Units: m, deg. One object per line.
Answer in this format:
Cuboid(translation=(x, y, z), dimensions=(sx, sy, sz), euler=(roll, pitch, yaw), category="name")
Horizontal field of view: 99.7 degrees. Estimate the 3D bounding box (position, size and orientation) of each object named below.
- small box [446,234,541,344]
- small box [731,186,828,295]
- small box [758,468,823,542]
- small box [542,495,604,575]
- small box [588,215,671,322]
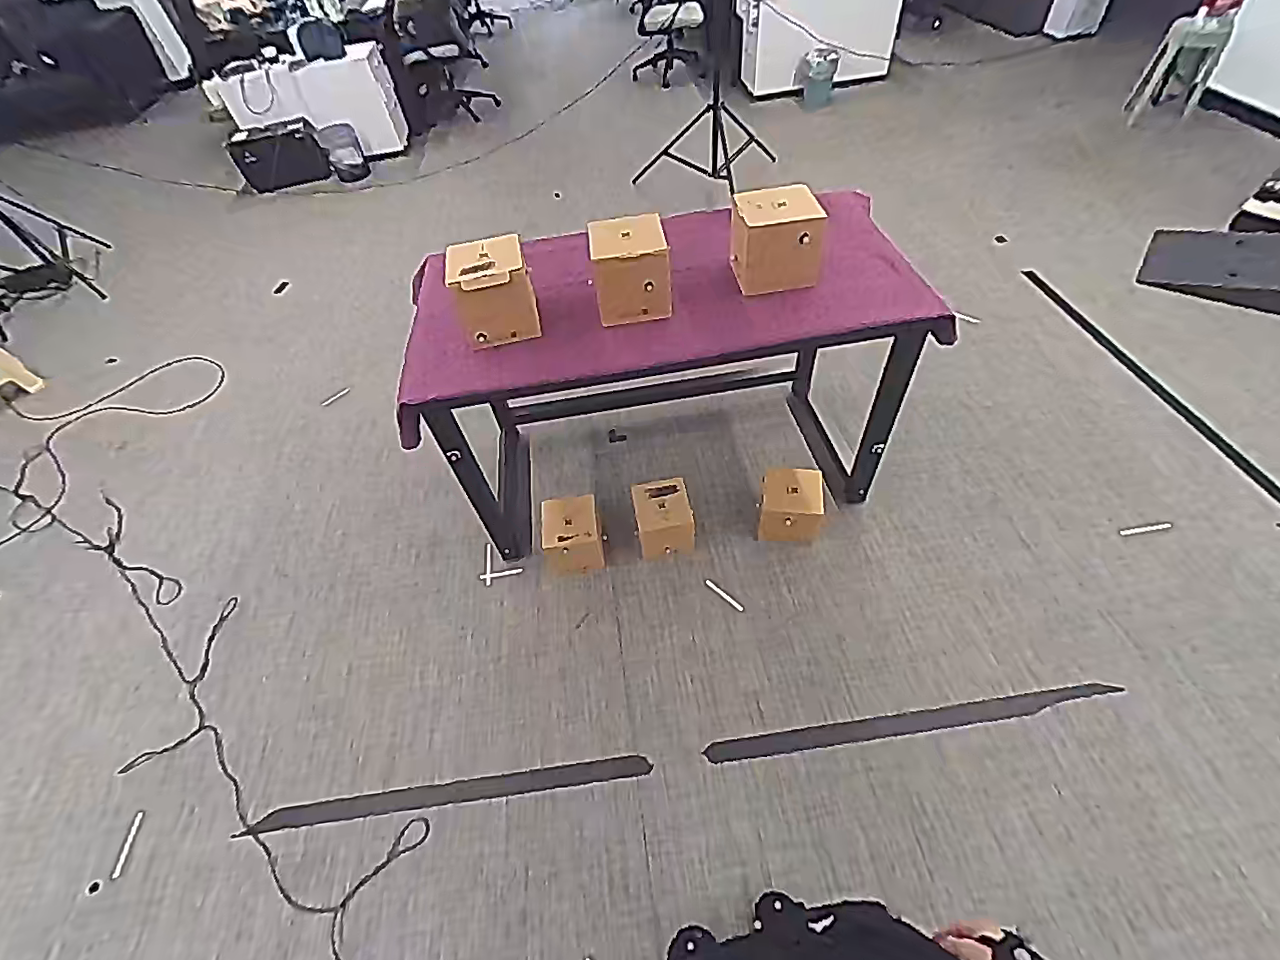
Cuboid(translation=(-0.331, -0.428, 1.235), dimensions=(0.168, 0.176, 0.179), euler=(-13, 50, -4), category="small box")
Cuboid(translation=(0.316, -0.557, 1.265), dimensions=(0.179, 0.176, 0.168), euler=(-8, 50, 1), category="small box")
Cuboid(translation=(0.462, 0.081, 1.679), dimensions=(0.179, 0.176, 0.168), euler=(3, 53, 11), category="small box")
Cuboid(translation=(-0.205, 0.172, 1.682), dimensions=(0.168, 0.176, 0.179), euler=(-8, 50, 1), category="small box")
Cuboid(translation=(-0.023, -0.479, 1.244), dimensions=(0.168, 0.176, 0.179), euler=(-8, 49, -1), category="small box")
